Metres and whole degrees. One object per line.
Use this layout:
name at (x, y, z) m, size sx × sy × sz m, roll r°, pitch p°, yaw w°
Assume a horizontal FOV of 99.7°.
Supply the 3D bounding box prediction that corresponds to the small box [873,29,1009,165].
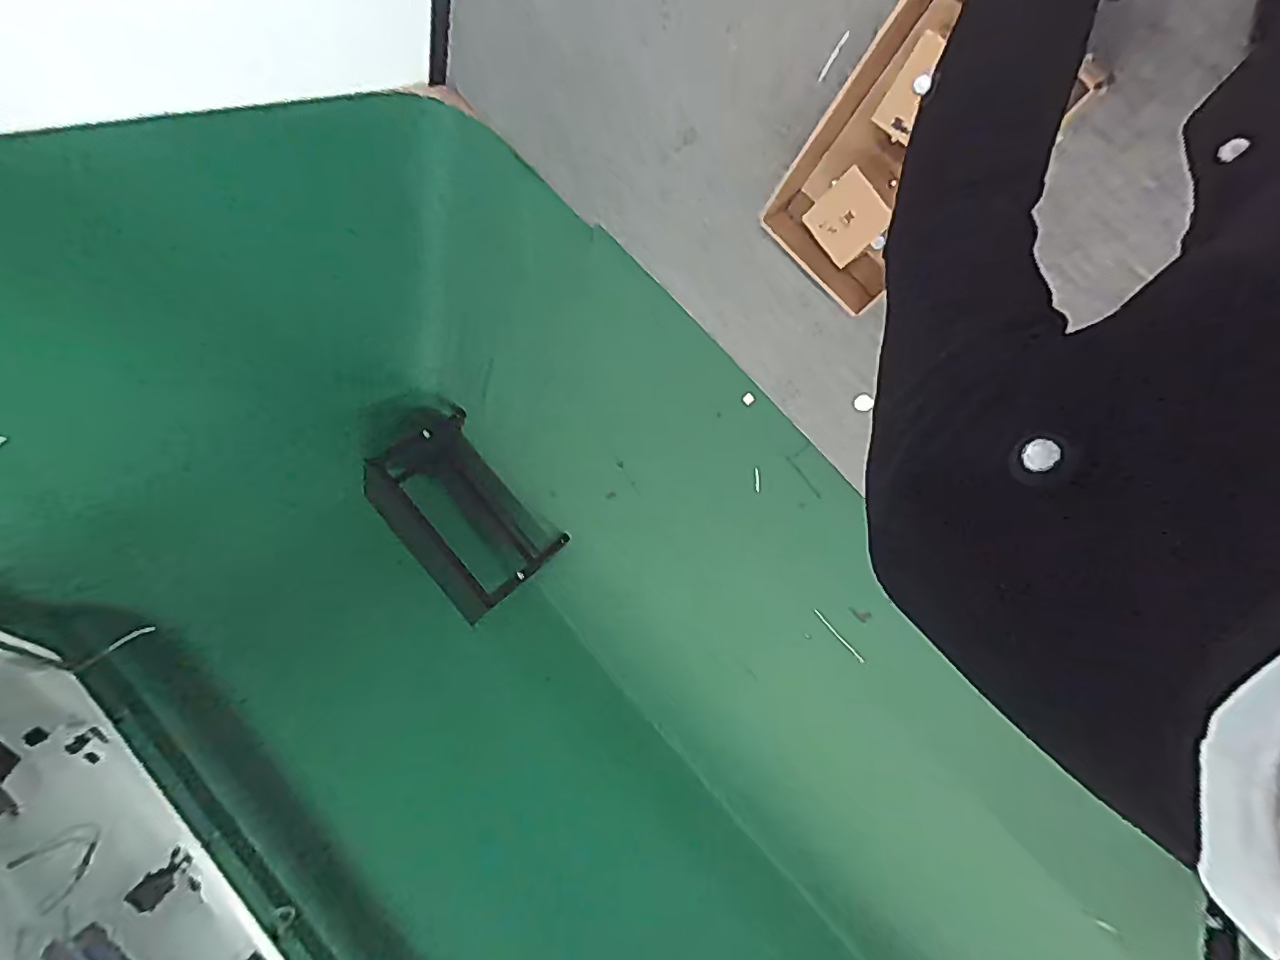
small box at (0.639, -0.811, 1.140) m, size 0.168 × 0.176 × 0.179 m, roll 44°, pitch 145°, yaw 9°
